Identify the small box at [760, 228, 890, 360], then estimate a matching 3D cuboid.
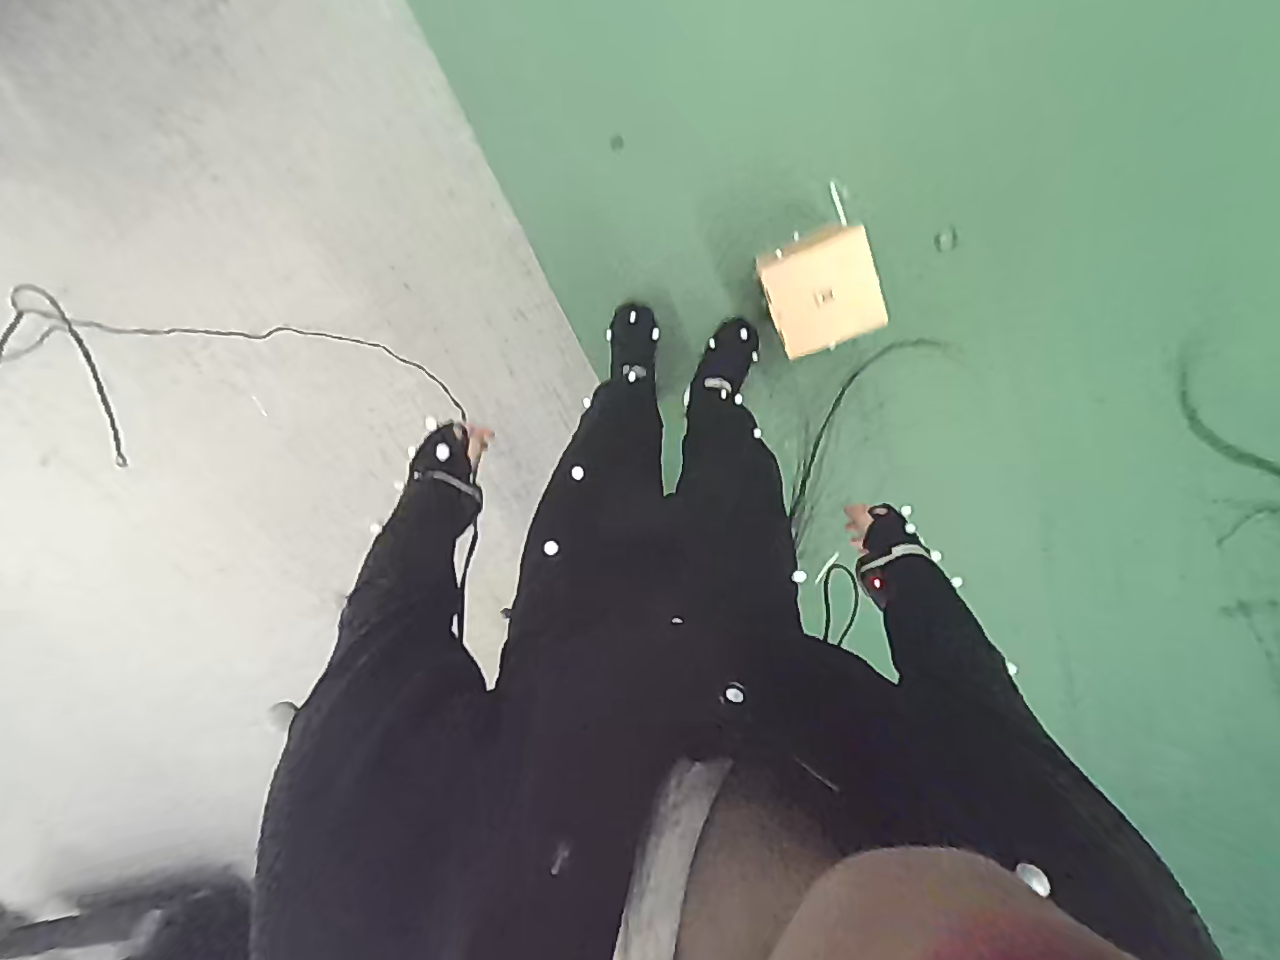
[{"bbox_3d":[0.328,-0.343,0.985,0.179,0.176,0.168,-19,111,18],"label":"small box"}]
